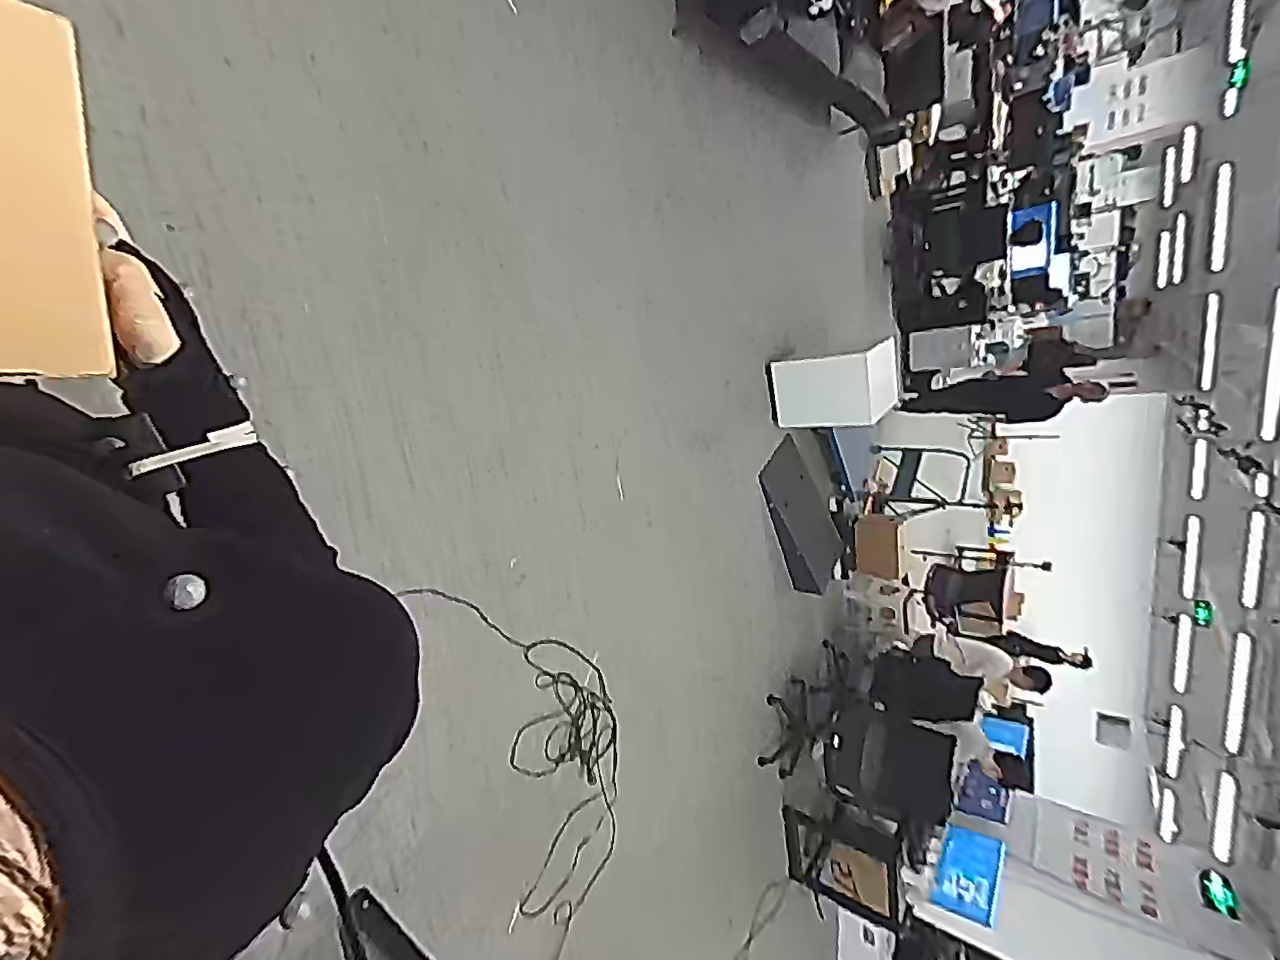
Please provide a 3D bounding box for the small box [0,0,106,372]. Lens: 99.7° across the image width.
[{"bbox_3d":[-0.406,-0.155,0.259,0.168,0.176,0.179,-19,124,-58],"label":"small box"}]
